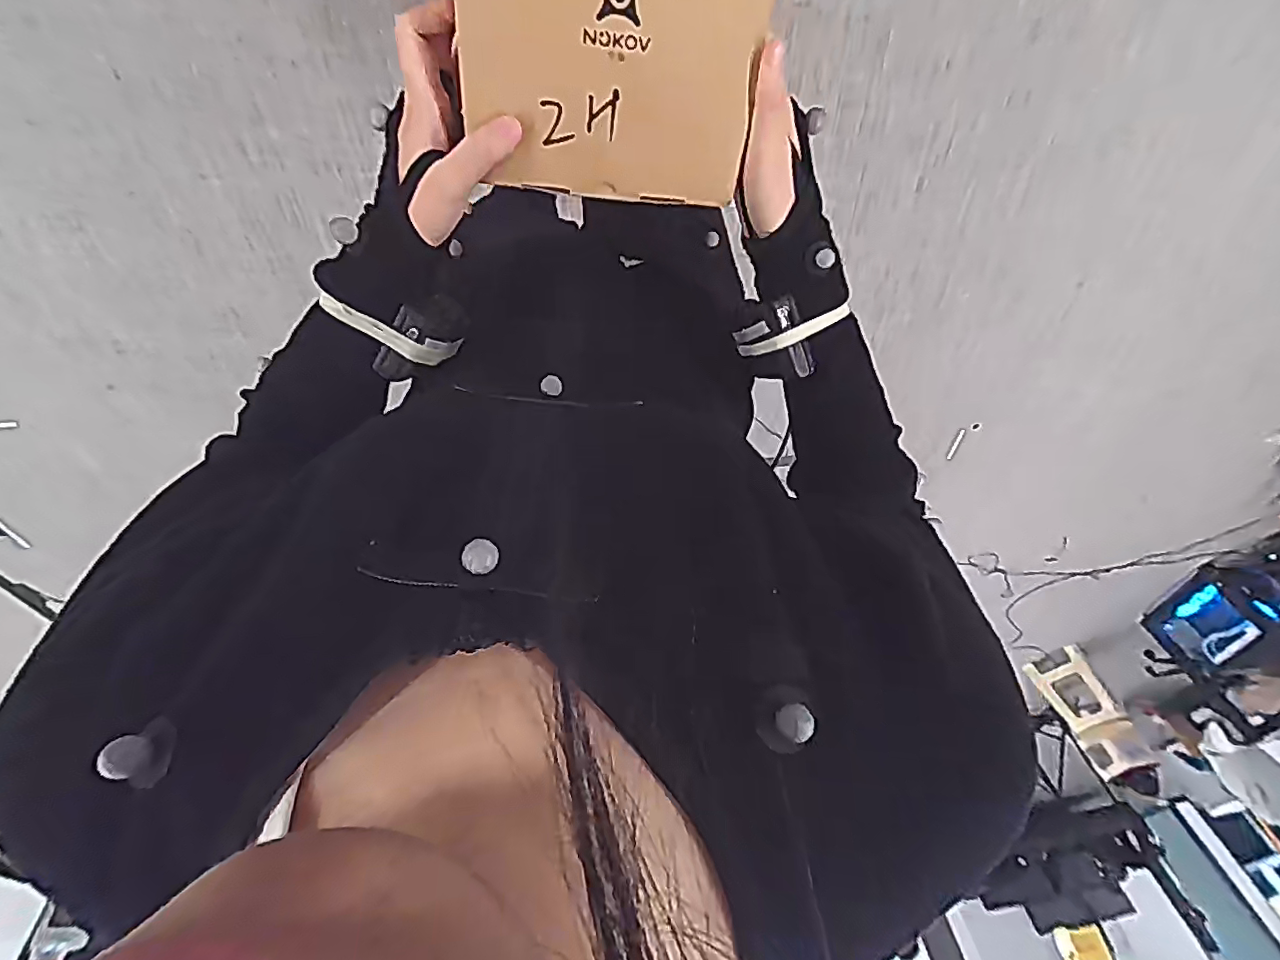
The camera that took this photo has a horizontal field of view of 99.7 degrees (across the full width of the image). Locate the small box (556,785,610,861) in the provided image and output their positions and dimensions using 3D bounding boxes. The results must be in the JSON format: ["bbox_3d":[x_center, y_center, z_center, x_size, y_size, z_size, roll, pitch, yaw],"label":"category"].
[{"bbox_3d":[-0.191,1.144,1.810,0.168,0.176,0.179,-5,134,-9],"label":"small box"}]
